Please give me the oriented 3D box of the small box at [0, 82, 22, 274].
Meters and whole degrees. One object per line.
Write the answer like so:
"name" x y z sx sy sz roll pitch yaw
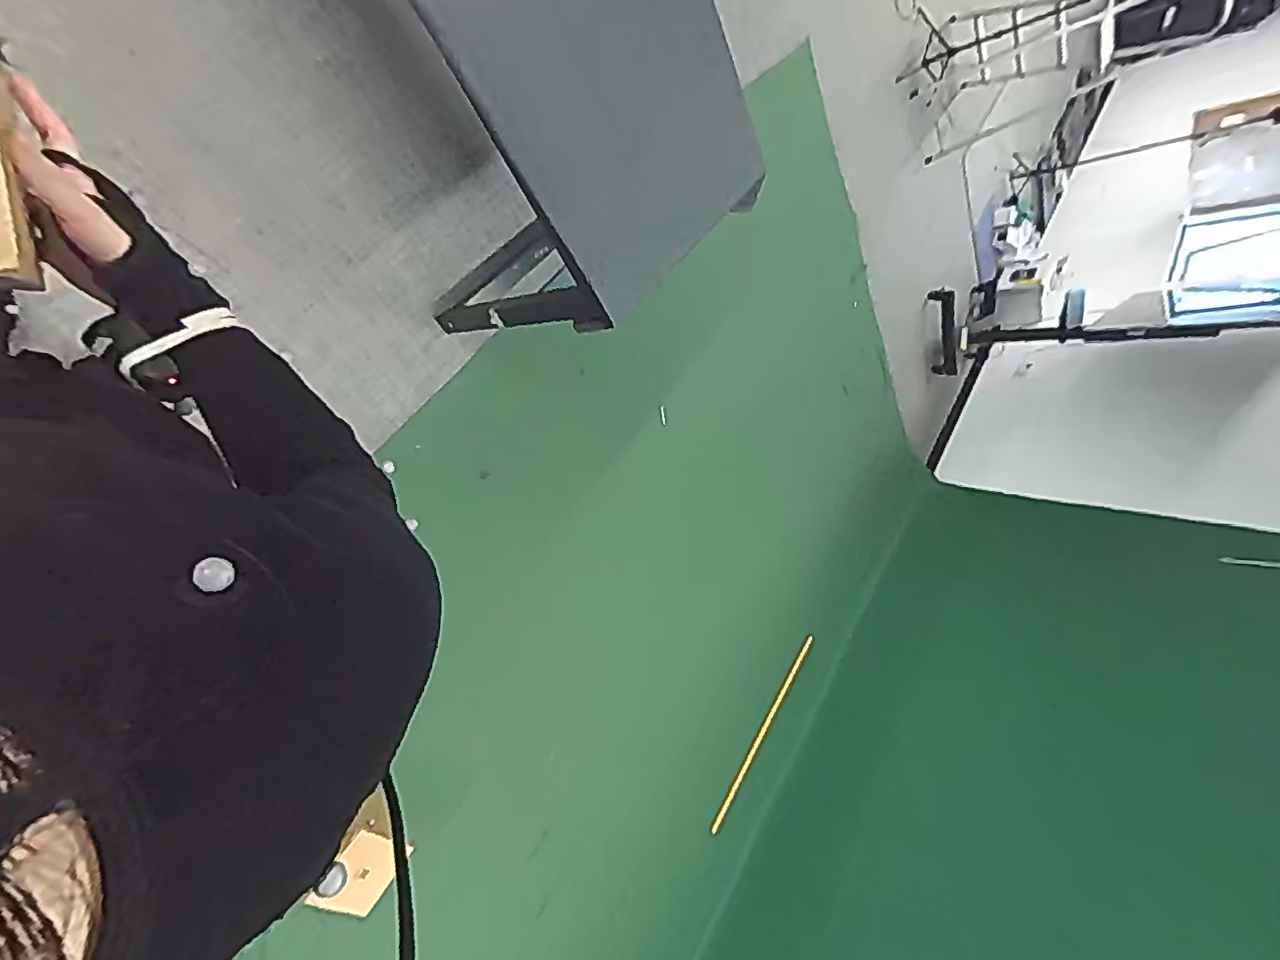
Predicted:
"small box" -0.457 -0.214 0.280 0.168 0.176 0.179 -8 108 -46

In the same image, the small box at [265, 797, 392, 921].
"small box" -0.737 0.890 1.280 0.168 0.176 0.179 -54 132 -23
